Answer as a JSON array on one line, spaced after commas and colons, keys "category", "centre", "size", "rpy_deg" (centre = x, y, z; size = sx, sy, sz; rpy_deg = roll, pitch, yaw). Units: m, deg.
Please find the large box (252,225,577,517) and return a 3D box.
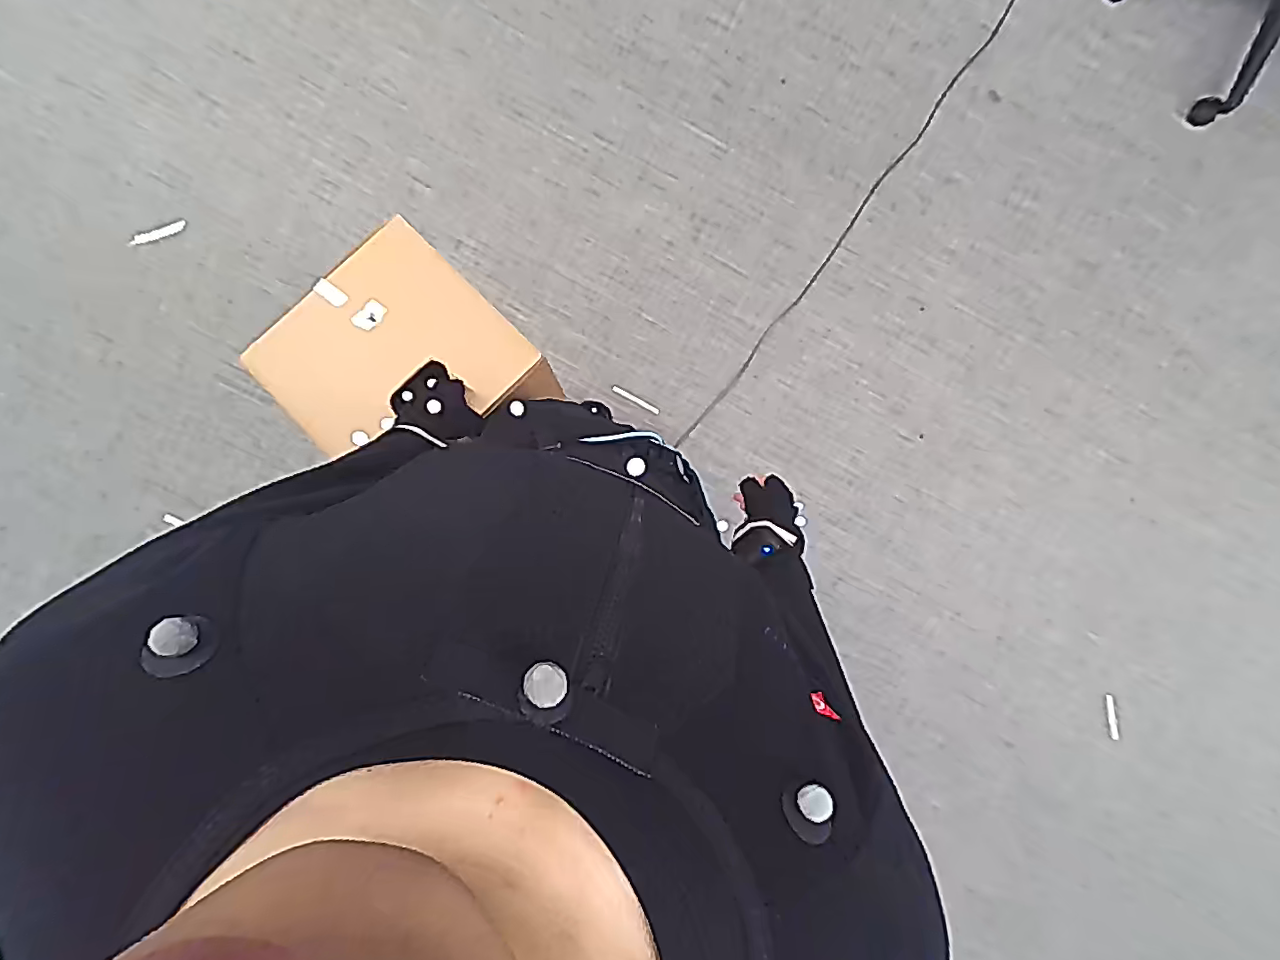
[{"category": "large box", "centre": [-0.352, -0.155, 0.968], "size": [0.320, 0.408, 0.320], "rpy_deg": [-44, 84, -4]}]
